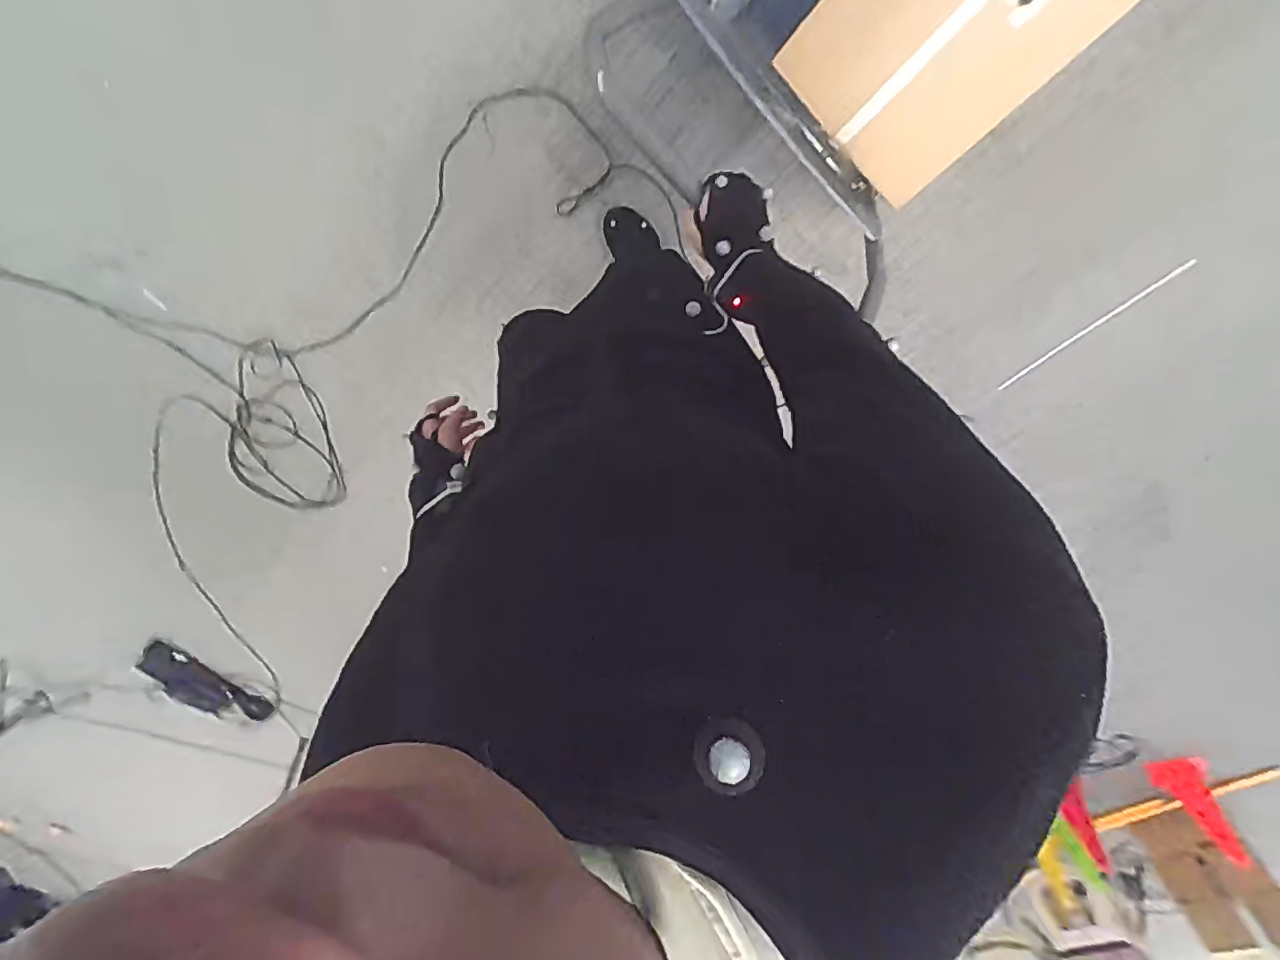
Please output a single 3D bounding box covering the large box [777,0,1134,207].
[{"bbox_3d":[0.478,-0.742,0.872,0.320,0.320,0.408,39,129,-17],"label":"large box"}]
